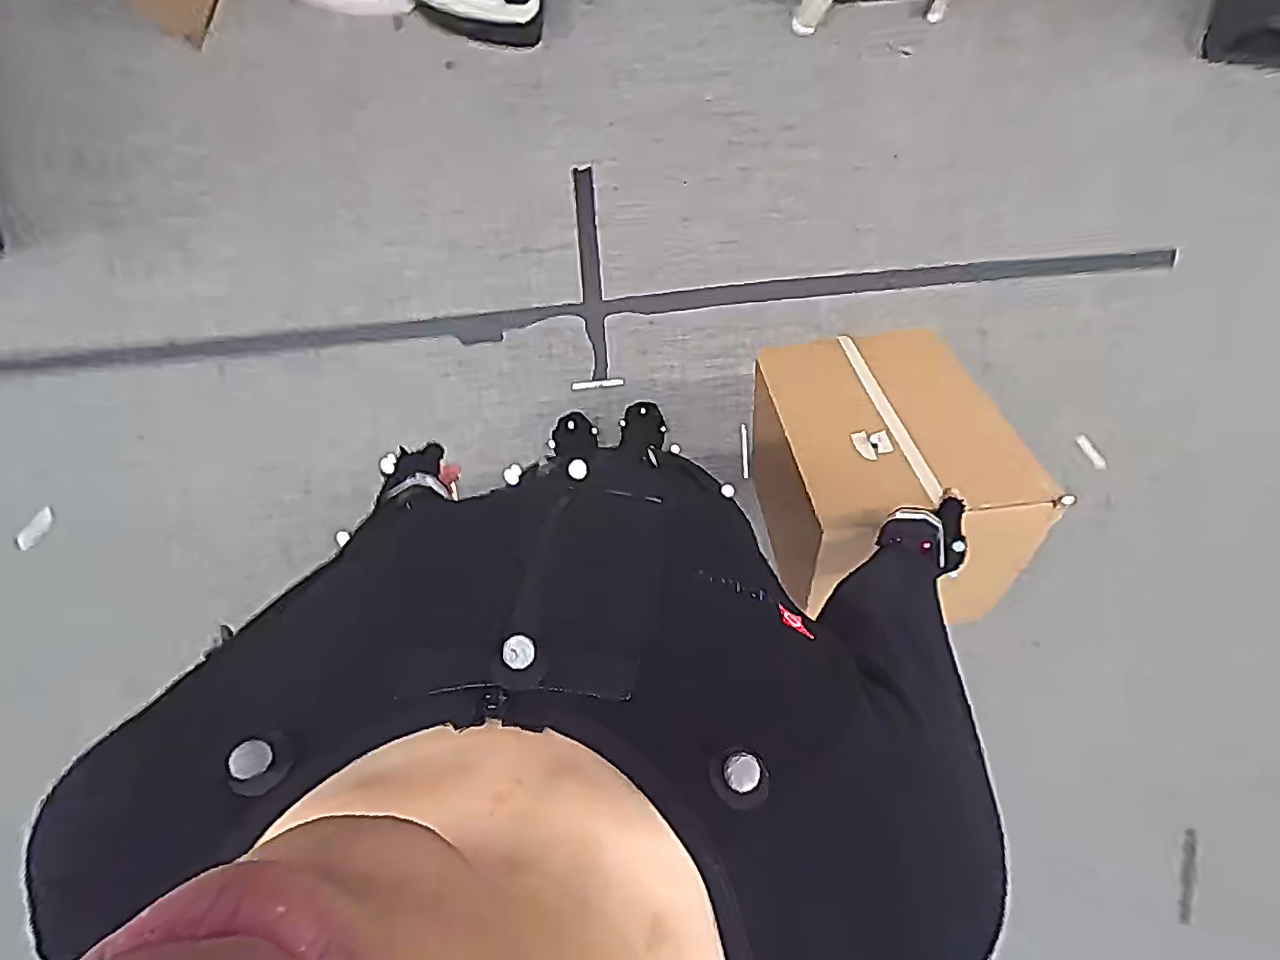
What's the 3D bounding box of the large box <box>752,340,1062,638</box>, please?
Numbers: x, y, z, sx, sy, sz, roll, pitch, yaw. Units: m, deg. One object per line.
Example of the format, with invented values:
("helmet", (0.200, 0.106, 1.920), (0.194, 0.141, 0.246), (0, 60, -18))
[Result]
("large box", (0.398, 0.012, 0.948), (0.320, 0.408, 0.320), (-8, 138, 2))
